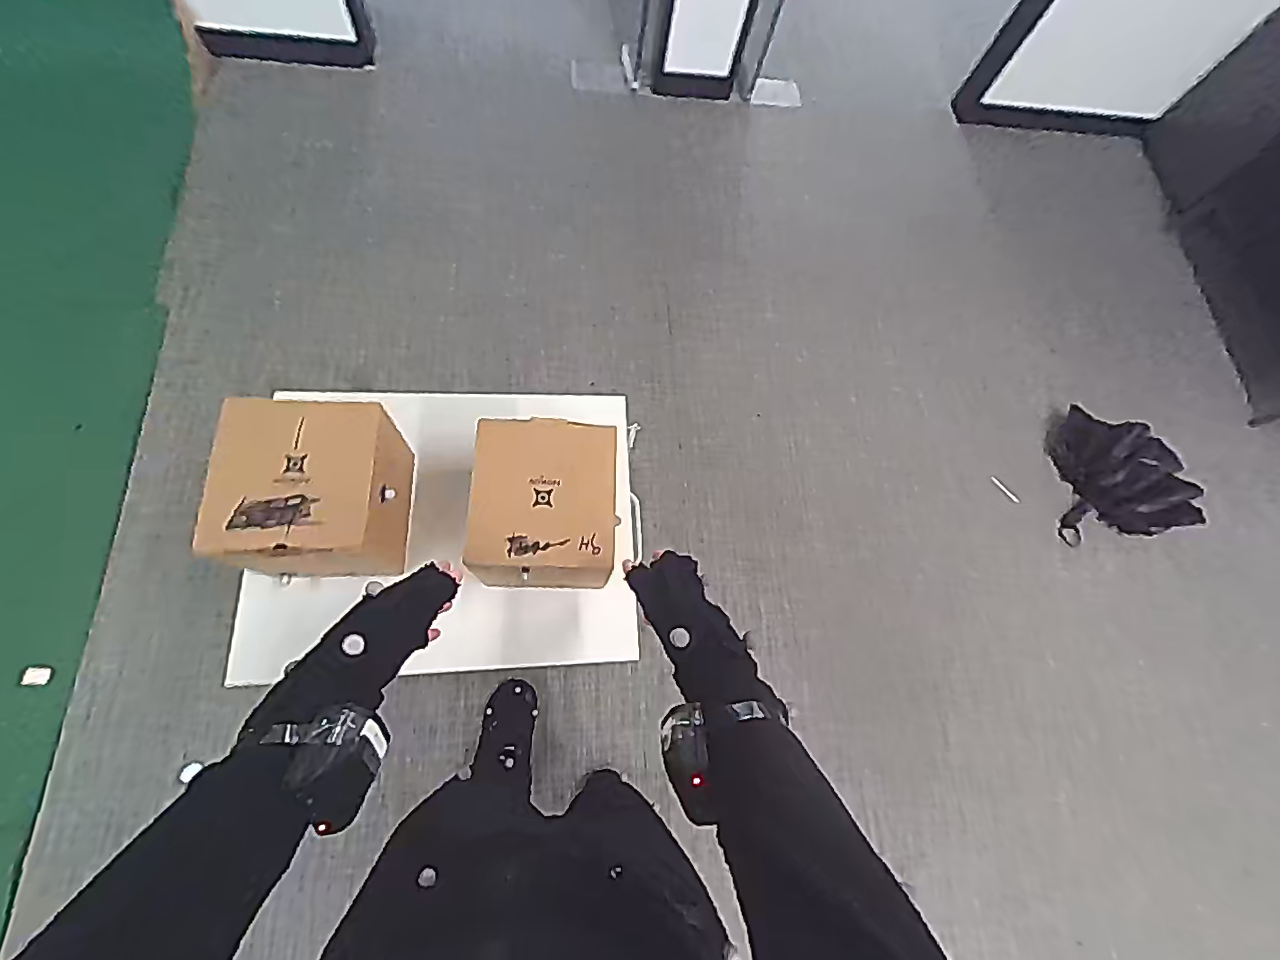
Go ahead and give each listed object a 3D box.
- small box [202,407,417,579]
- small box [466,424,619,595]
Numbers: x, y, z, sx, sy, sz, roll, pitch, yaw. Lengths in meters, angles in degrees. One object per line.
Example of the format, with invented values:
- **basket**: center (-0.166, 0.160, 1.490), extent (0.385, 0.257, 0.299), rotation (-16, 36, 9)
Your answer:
- **small box**: center (-0.385, 0.026, 0.668), extent (0.168, 0.176, 0.179), rotation (0, 70, -9)
- **small box**: center (-0.118, 0.046, 0.699), extent (0.168, 0.176, 0.179), rotation (2, 70, -6)
